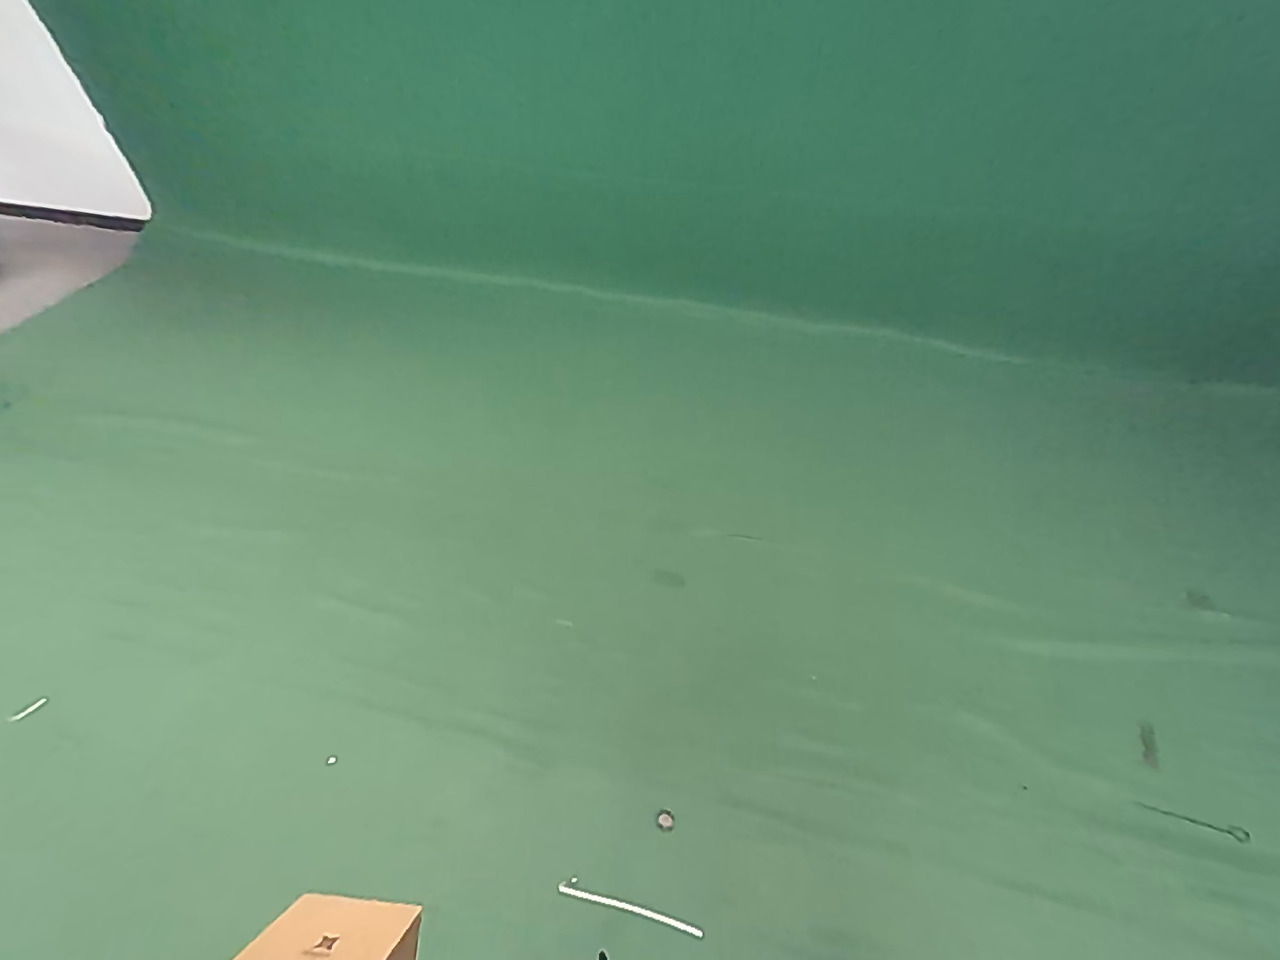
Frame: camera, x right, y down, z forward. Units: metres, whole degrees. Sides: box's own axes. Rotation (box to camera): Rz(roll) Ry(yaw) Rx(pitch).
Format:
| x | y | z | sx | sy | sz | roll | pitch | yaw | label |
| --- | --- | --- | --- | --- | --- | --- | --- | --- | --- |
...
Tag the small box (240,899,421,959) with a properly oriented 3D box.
| x | y | z | sx | sy | sz | roll | pitch | yaw | label |
| --- | --- | --- | --- | --- | --- | --- | --- | --- | --- |
| -0.385 | 0.645 | 0.636 | 0.168 | 0.179 | 0.176 | 4 | 82 | 3 | small box |
